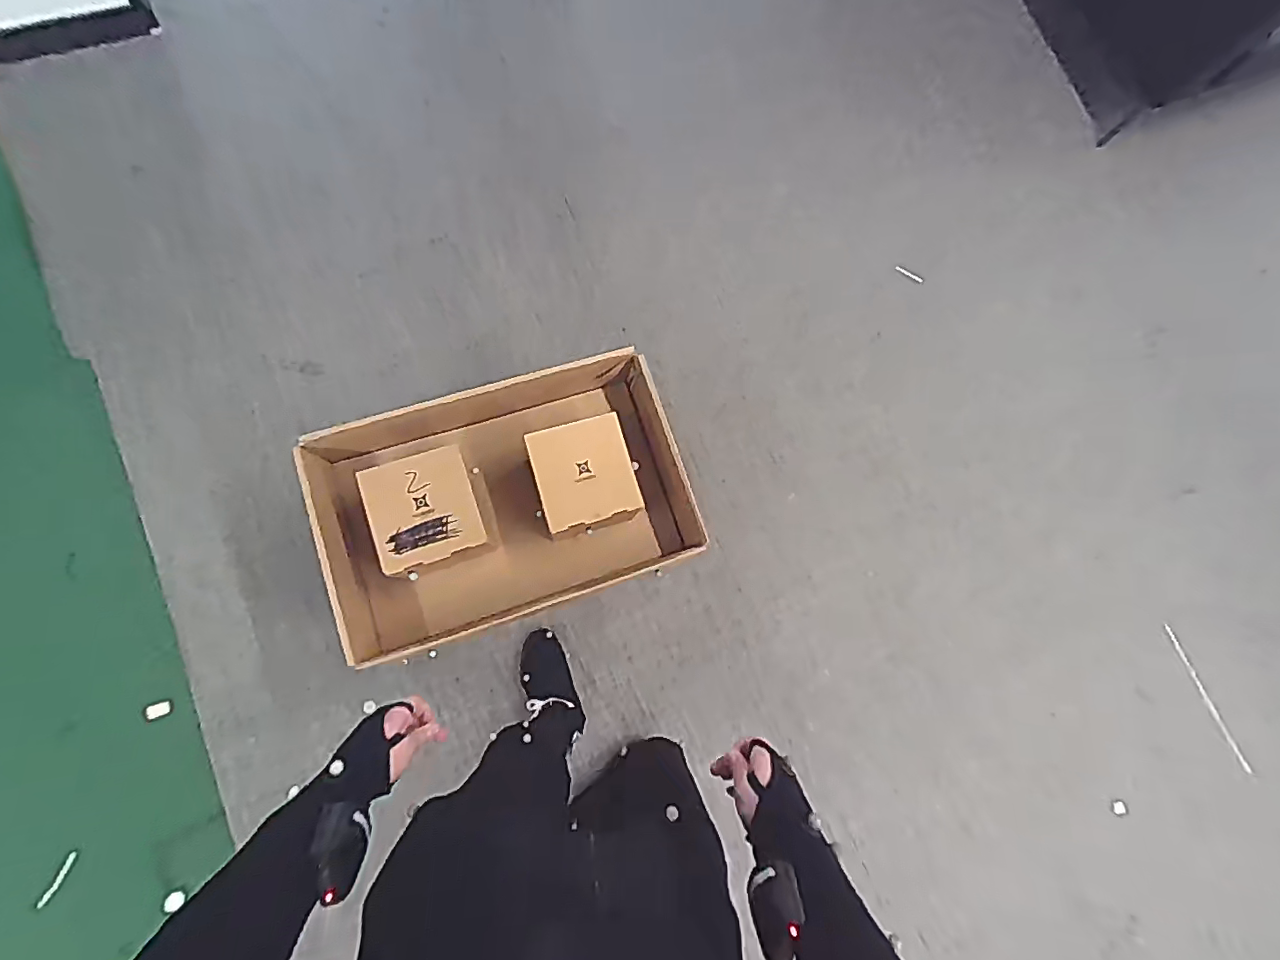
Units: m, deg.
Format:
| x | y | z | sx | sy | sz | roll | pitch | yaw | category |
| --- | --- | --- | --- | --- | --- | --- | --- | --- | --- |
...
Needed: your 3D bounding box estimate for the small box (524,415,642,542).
| x | y | z | sx | sy | sz | roll | pitch | yaw | category |
| --- | --- | --- | --- | --- | --- | --- | --- | --- | --- |
| -0.108 | 0.004 | 0.984 | 0.168 | 0.176 | 0.179 | -16 | 82 | -10 | small box |
